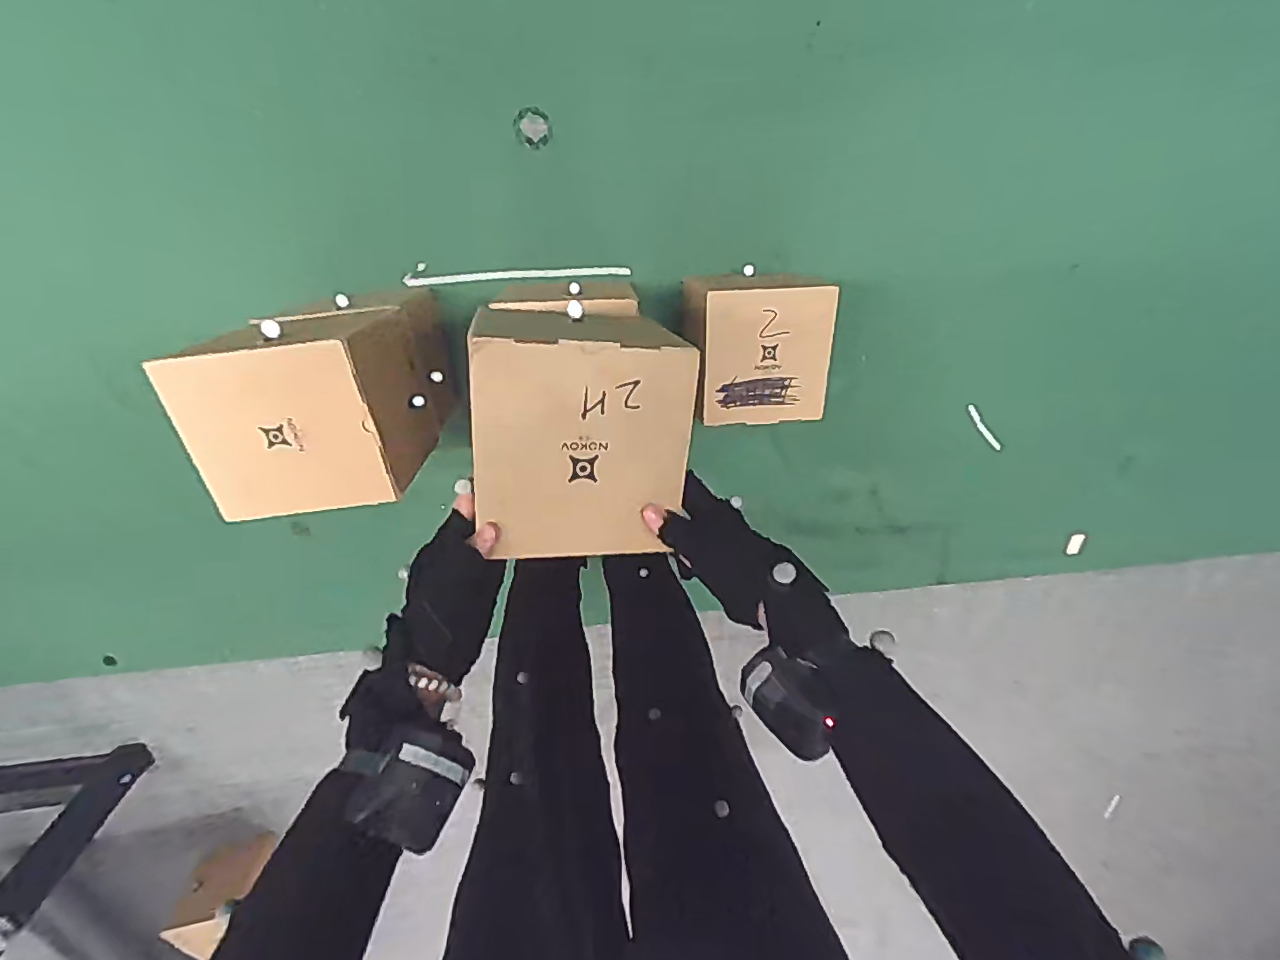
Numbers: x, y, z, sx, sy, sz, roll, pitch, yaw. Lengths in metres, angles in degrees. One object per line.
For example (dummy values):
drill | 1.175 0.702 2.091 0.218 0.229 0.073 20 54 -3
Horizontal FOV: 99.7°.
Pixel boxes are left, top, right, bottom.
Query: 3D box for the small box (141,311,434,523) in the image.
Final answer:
small box | -0.343 -0.075 0.572 0.179 0.176 0.168 -8 117 -2

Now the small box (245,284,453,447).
small box | -0.361 -0.150 0.716 0.168 0.176 0.179 -6 119 -3

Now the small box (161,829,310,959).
small box | -0.900 0.934 1.225 0.179 0.176 0.168 -16 119 3
